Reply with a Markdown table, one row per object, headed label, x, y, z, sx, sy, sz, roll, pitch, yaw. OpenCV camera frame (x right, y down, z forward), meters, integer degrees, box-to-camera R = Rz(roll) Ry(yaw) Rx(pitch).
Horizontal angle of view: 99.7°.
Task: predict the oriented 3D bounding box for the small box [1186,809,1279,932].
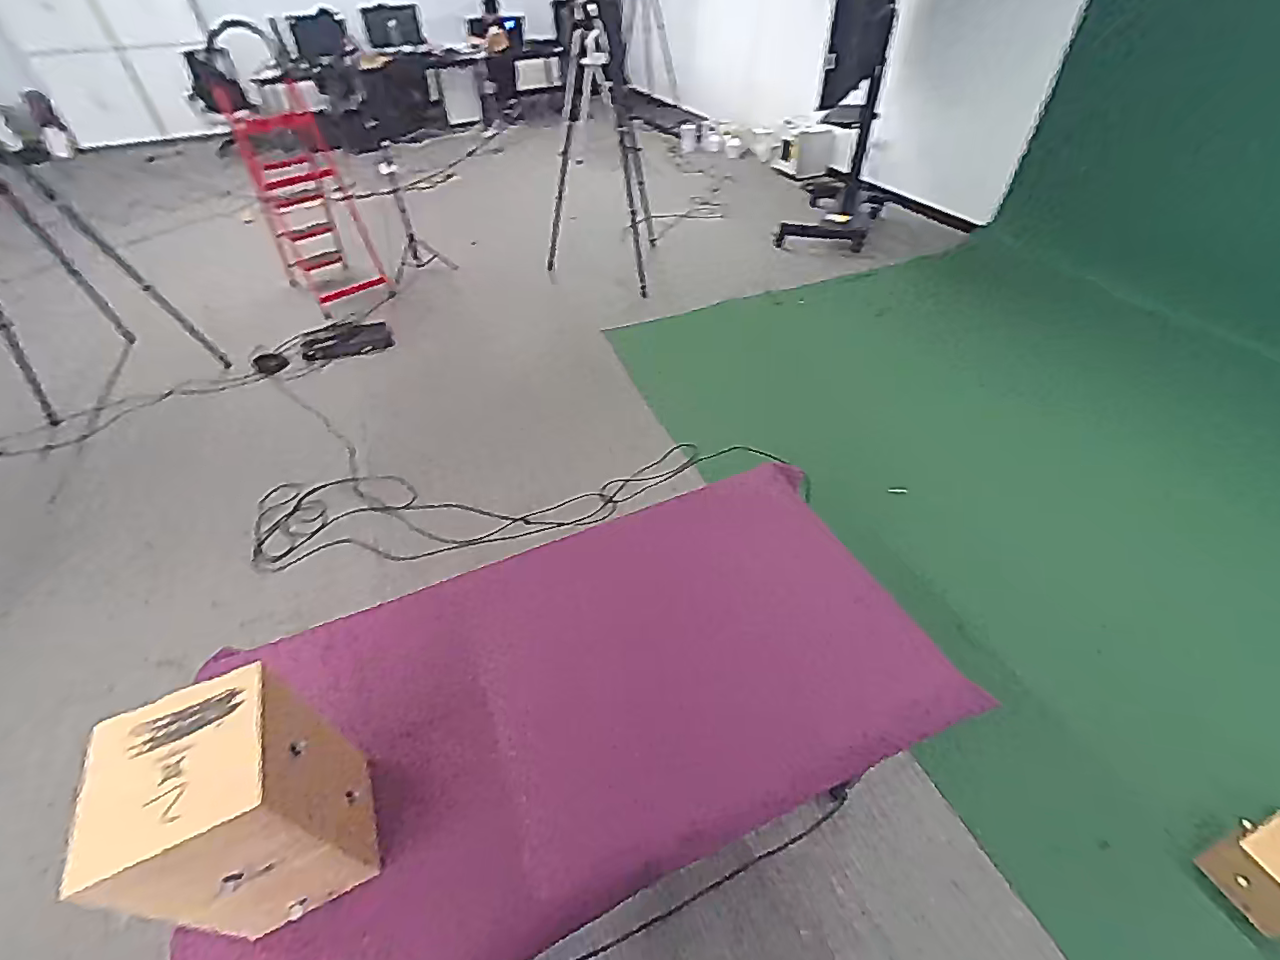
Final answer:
| label | x | y | z | sx | sy | sz | roll | pitch | yaw |
| --- | --- | --- | --- | --- | --- | --- | --- | --- | --- |
| small box | 1.449 | 0.913 | 1.260 | 0.179 | 0.176 | 0.168 | -17 | 46 | -16 |

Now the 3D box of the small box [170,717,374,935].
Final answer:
| label | x | y | z | sx | sy | sz | roll | pitch | yaw |
| --- | --- | --- | --- | --- | --- | --- | --- | --- | --- |
| small box | -0.478 | 0.463 | 0.726 | 0.168 | 0.176 | 0.179 | -20 | 48 | -18 |
